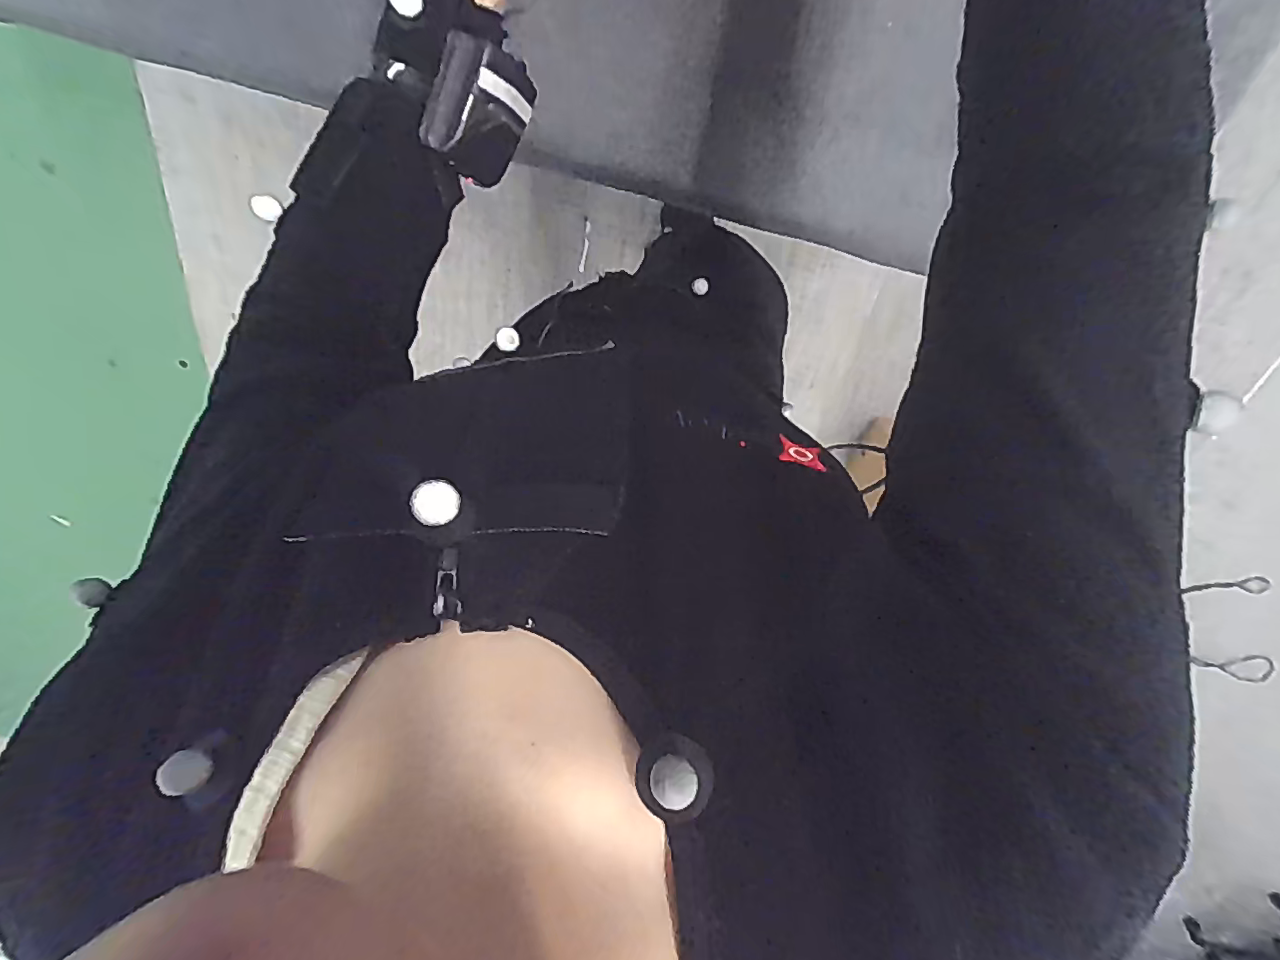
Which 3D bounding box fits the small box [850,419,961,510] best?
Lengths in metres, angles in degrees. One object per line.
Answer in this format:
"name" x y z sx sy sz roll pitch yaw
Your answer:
"small box" 0.630 -0.020 1.314 0.168 0.176 0.179 17 123 -2
